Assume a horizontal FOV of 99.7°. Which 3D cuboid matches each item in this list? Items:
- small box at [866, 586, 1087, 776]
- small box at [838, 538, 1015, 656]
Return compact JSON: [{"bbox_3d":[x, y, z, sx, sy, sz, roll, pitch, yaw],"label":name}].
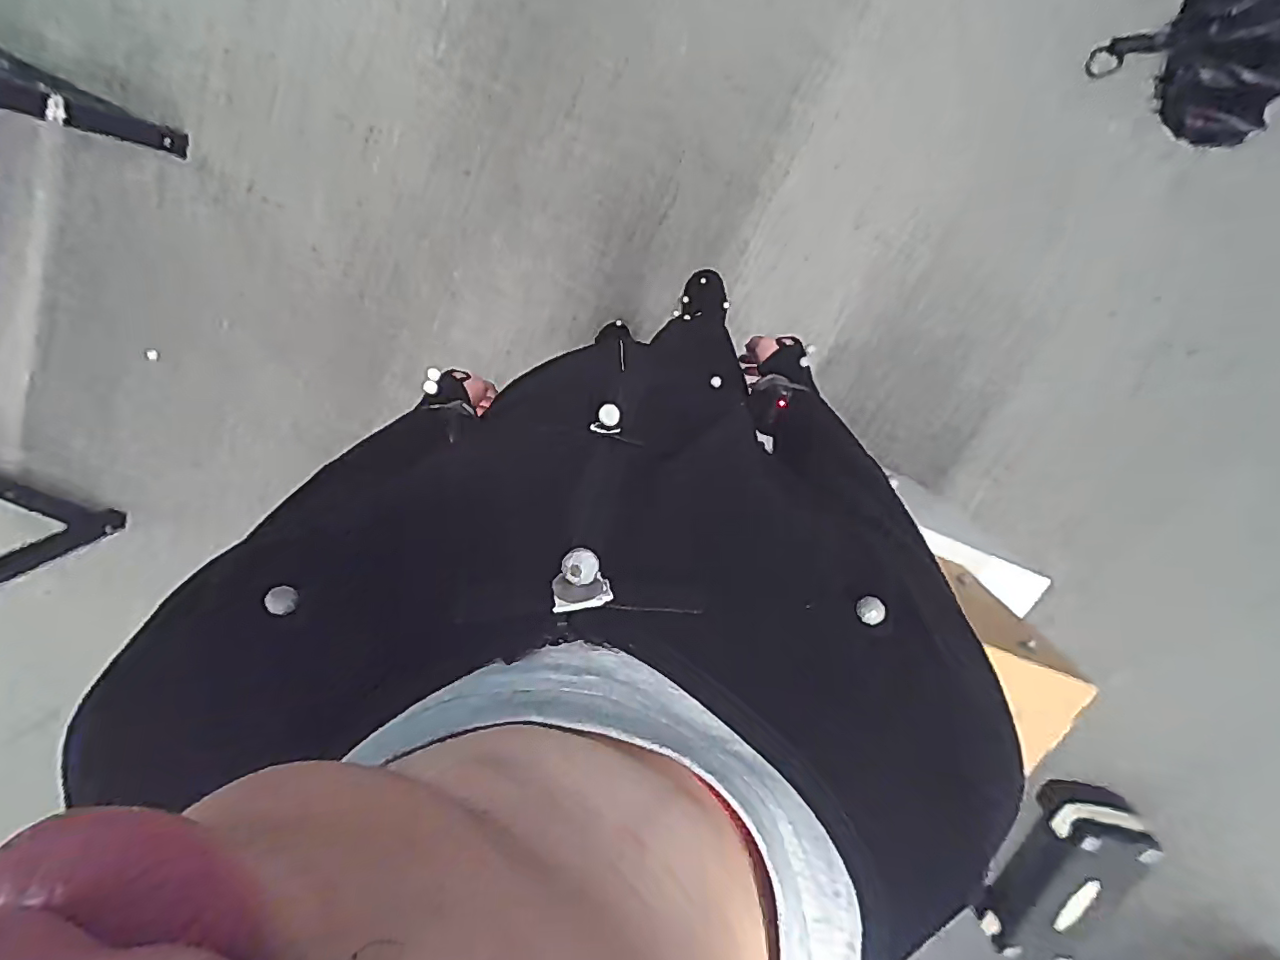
[{"bbox_3d":[0.467,0.280,0.783,0.179,0.176,0.168,21,108,-5],"label":"small box"},{"bbox_3d":[0.479,0.224,0.935,0.179,0.176,0.168,22,109,-7],"label":"small box"}]
